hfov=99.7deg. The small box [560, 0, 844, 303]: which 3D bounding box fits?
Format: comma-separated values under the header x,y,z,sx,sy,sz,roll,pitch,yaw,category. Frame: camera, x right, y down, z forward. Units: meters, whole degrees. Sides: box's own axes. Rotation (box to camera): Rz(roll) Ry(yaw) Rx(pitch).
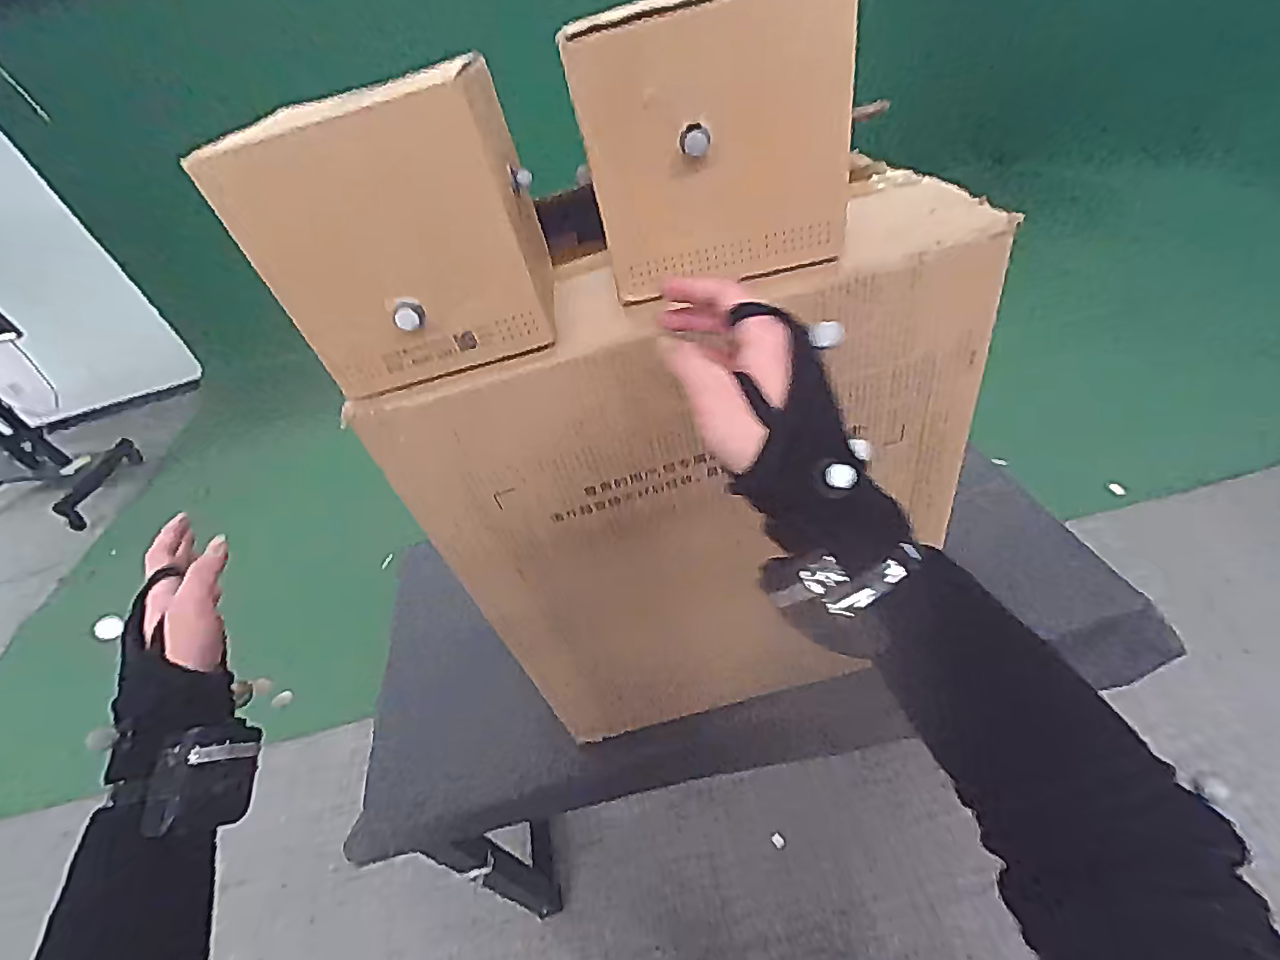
x,y,z,sx,sy,sz,roll,pitch,yaw,category
0.049,-0.261,0.426,0.179,0.176,0.168,-12,42,5,small box
